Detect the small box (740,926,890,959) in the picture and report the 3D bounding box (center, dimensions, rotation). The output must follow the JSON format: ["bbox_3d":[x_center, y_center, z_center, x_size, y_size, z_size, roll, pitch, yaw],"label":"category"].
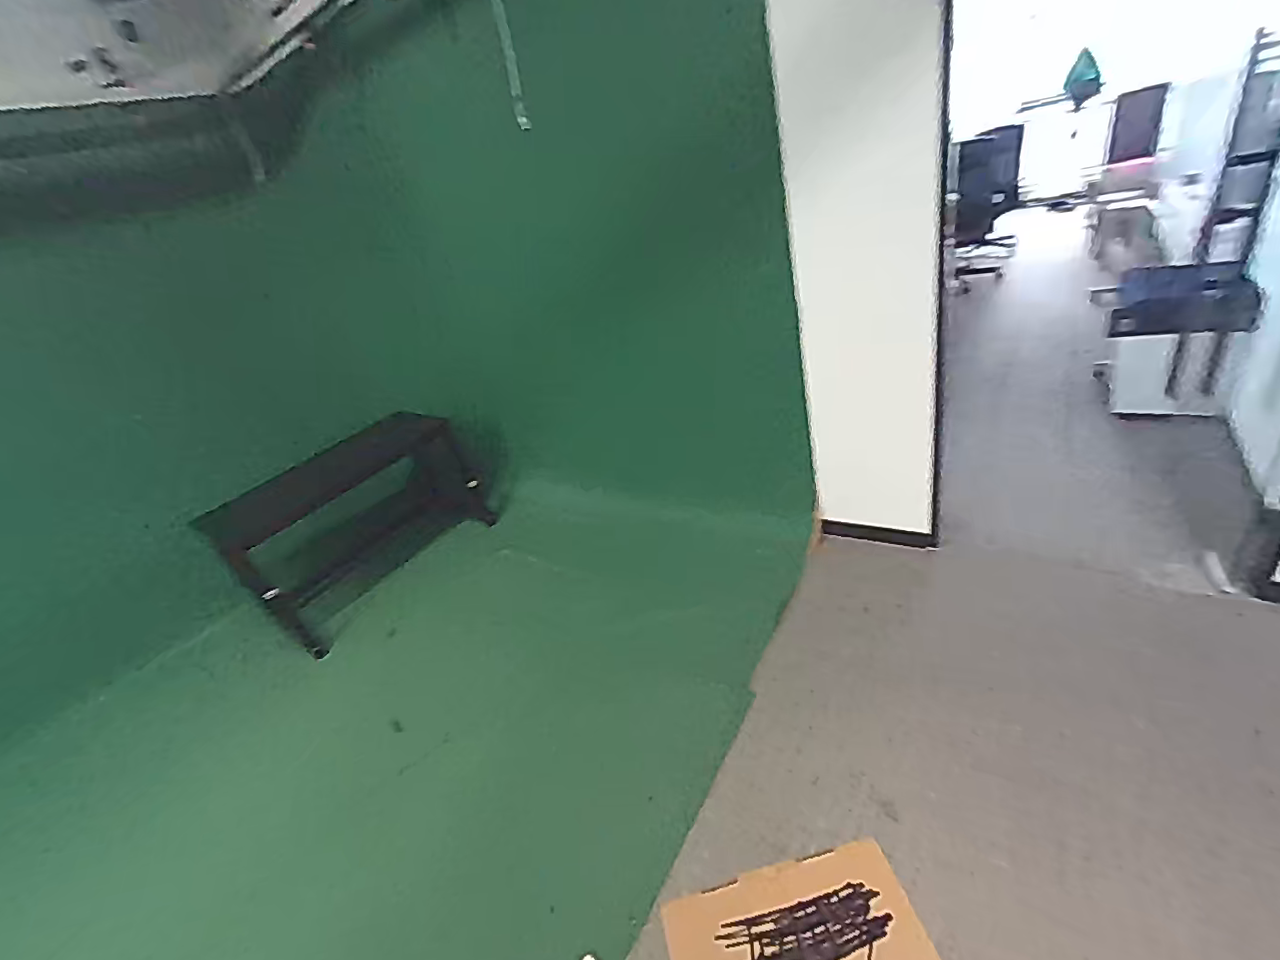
[{"bbox_3d":[0.158,0.522,0.442,0.168,0.176,0.179,-14,29,-1],"label":"small box"}]
